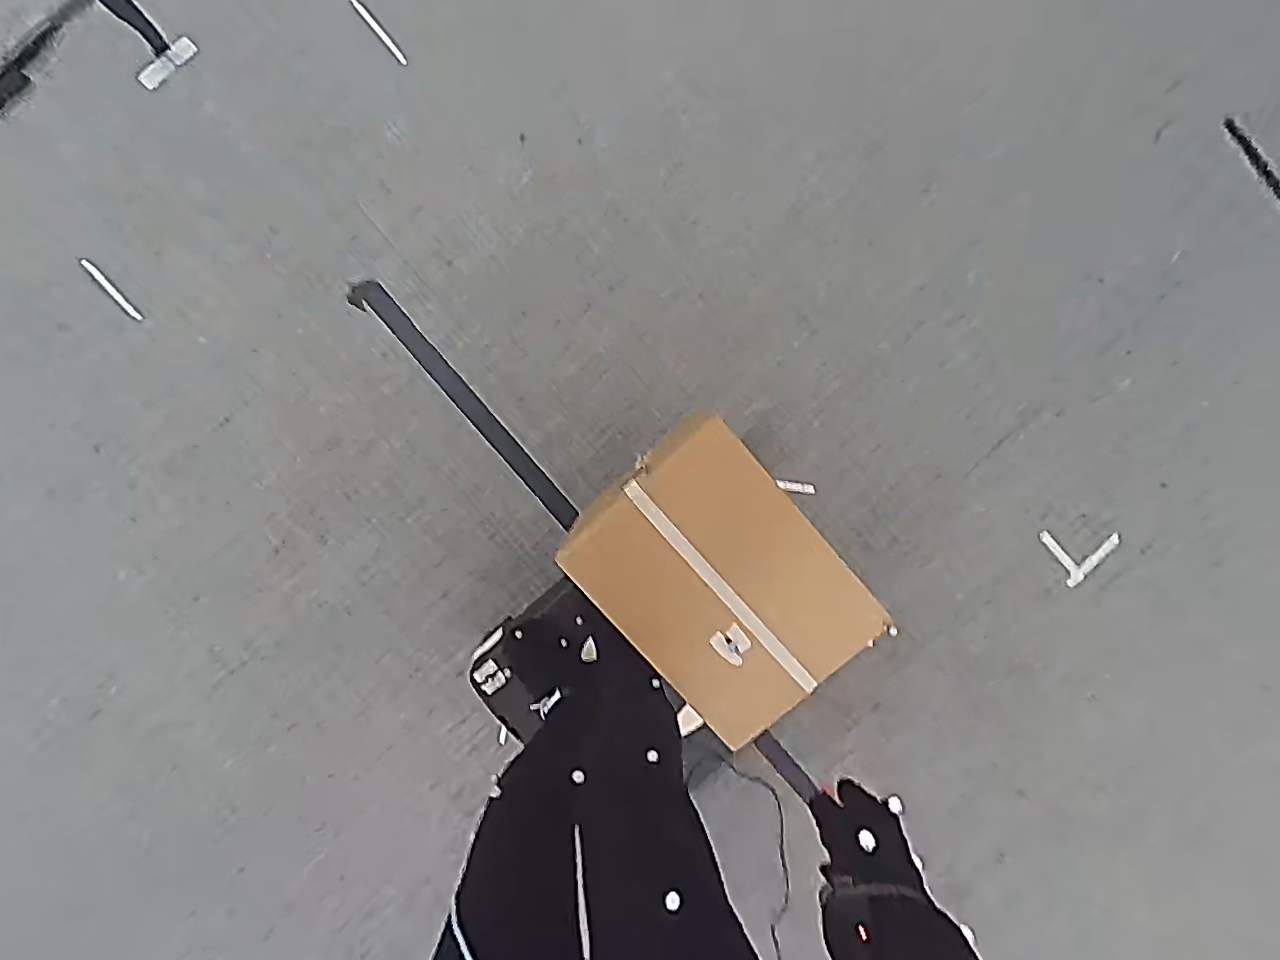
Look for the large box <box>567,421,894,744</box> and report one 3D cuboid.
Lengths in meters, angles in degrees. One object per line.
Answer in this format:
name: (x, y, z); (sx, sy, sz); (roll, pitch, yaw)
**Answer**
large box: (0.133, 0.144, 0.945); (0.320, 0.320, 0.408); (-42, 96, 6)
